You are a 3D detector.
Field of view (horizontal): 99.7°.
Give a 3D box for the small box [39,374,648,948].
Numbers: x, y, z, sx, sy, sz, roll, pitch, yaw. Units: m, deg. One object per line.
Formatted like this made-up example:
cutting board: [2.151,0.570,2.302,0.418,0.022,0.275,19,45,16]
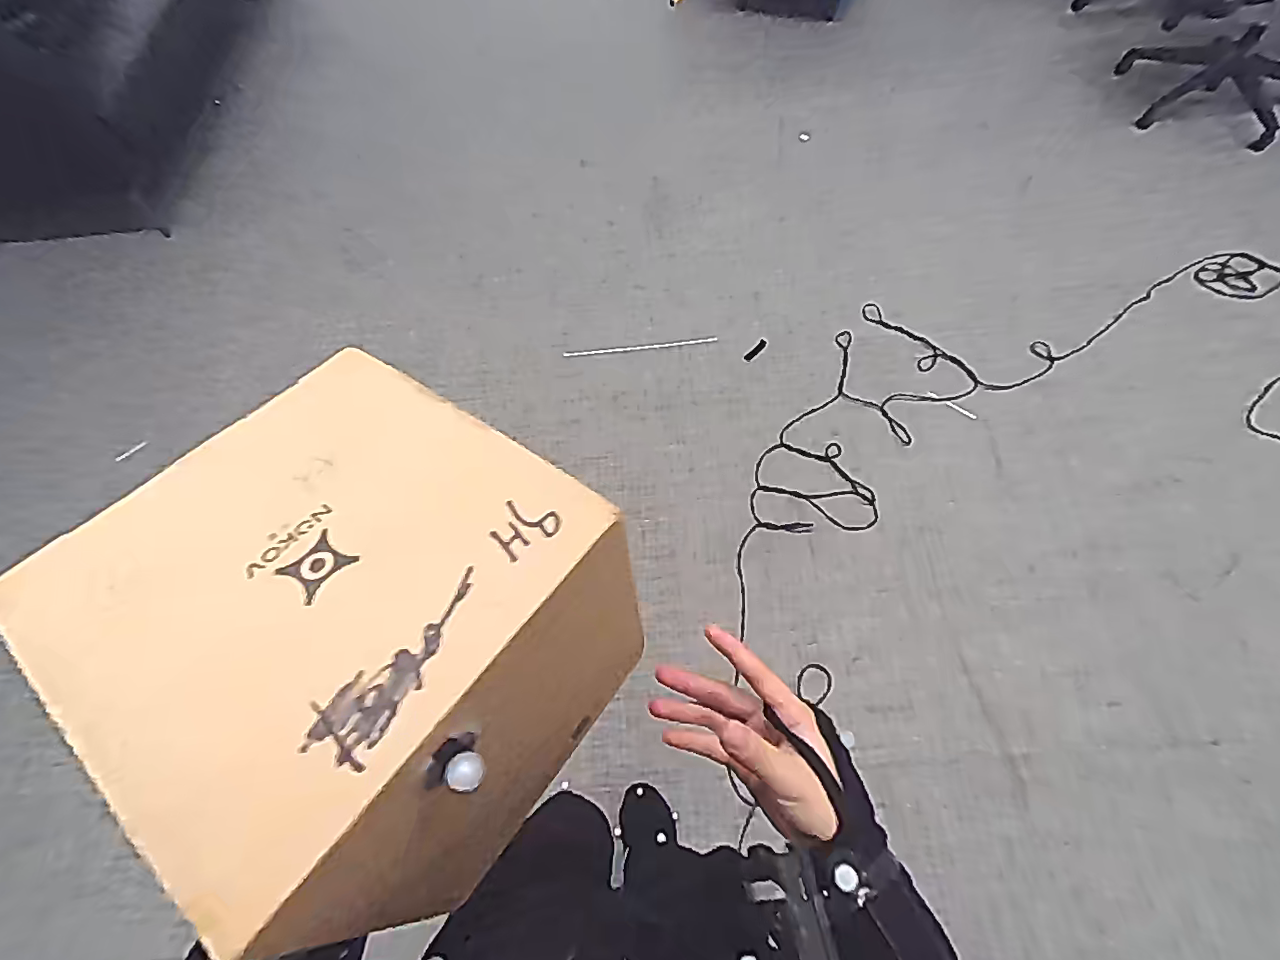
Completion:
small box: [-0.113,0.083,0.276,0.179,0.176,0.168,29,62,23]
